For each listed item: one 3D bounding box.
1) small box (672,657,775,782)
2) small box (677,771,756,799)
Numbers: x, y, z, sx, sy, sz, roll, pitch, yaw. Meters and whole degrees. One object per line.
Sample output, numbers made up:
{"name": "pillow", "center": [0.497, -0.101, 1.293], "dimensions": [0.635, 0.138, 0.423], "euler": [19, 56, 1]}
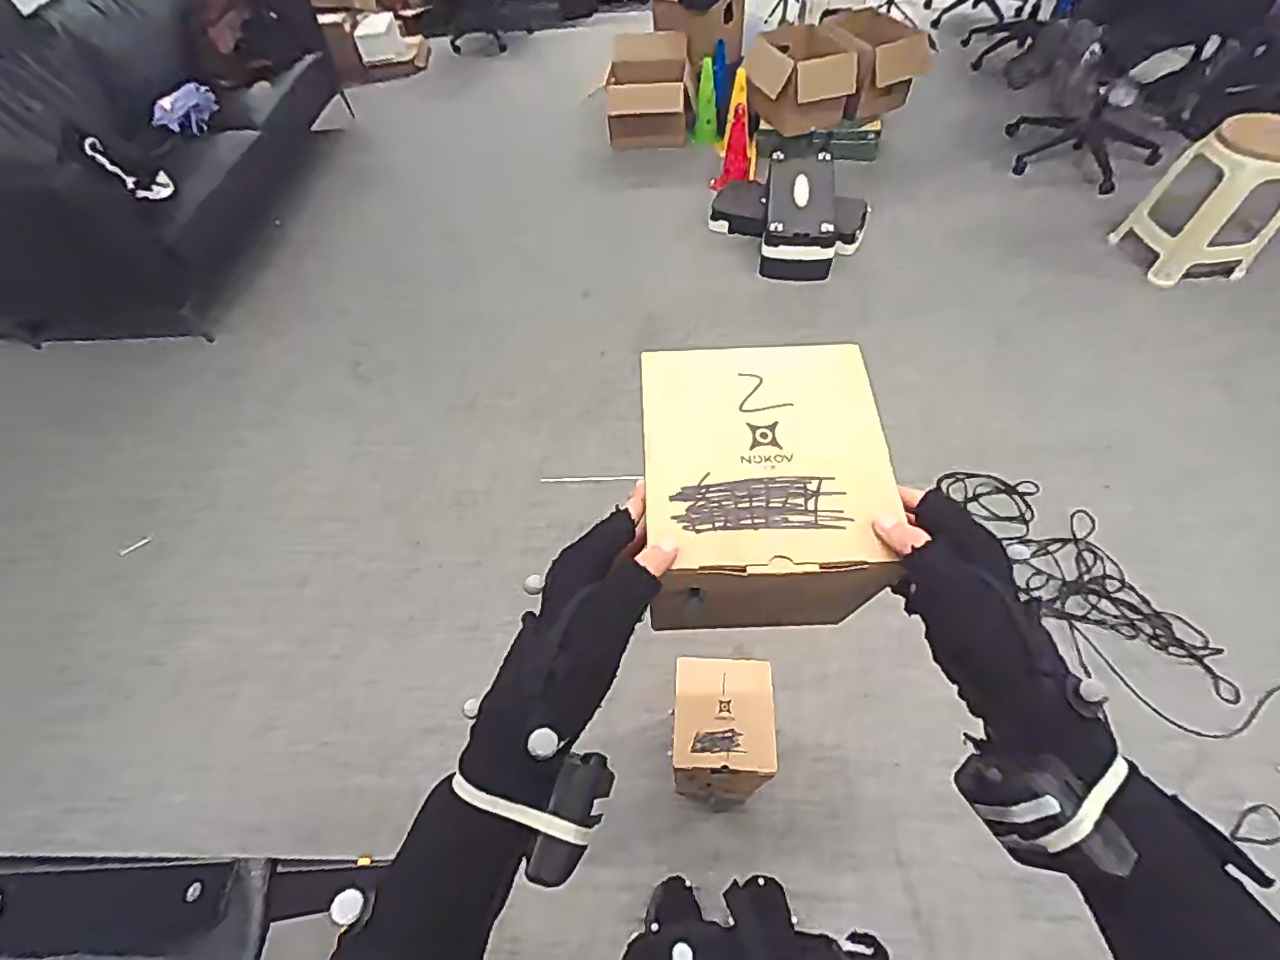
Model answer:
{"name": "small box", "center": [0.147, 0.432, 0.967], "dimensions": [0.168, 0.176, 0.179], "euler": [1, 56, 6]}
{"name": "small box", "center": [0.174, 0.615, 1.235], "dimensions": [0.168, 0.176, 0.179], "euler": [3, 56, 8]}
